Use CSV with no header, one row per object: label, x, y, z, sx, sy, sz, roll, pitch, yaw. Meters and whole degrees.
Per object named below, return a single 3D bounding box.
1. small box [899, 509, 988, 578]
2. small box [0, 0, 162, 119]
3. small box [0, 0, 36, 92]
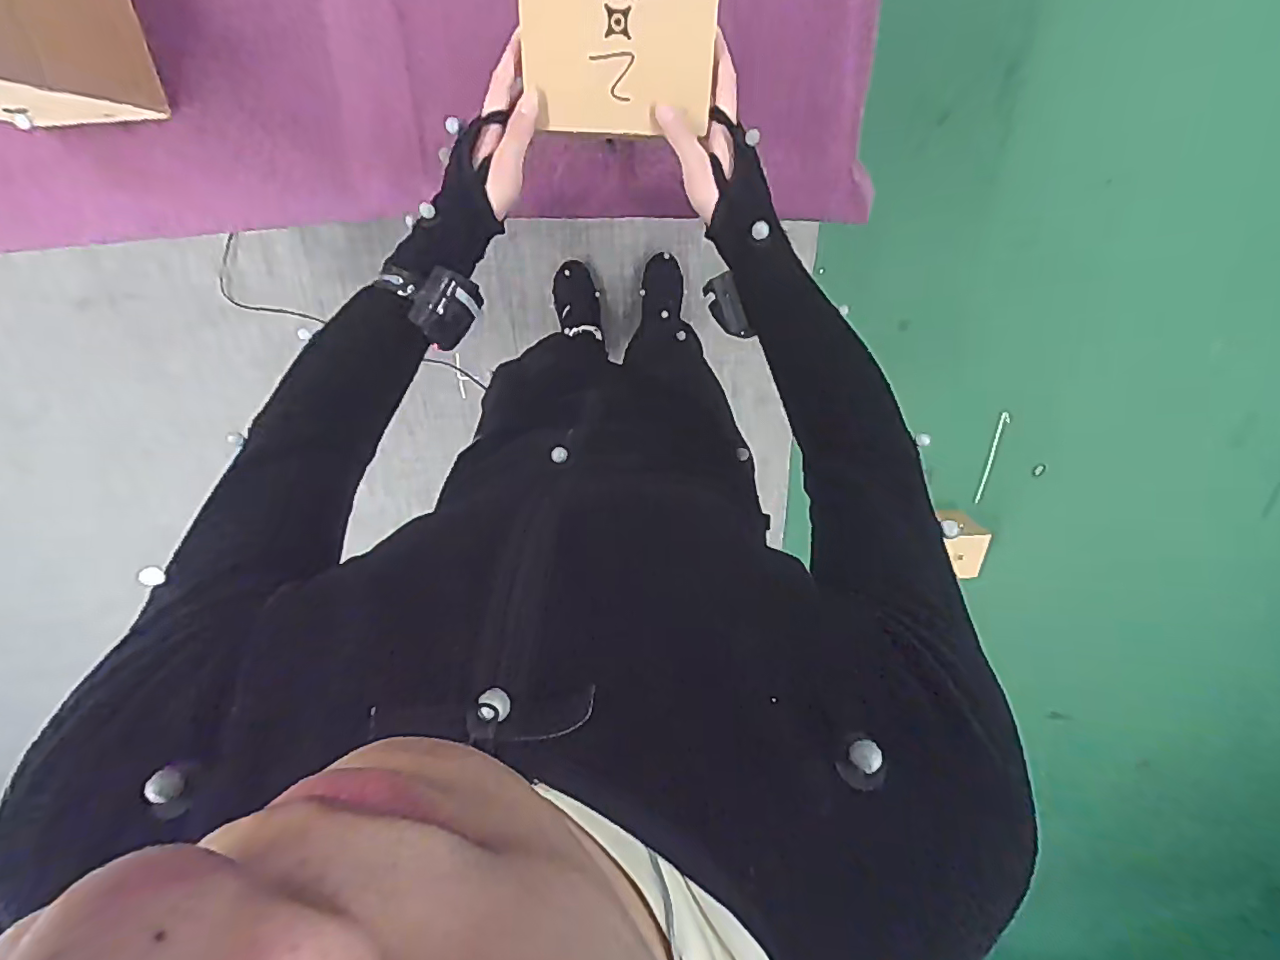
small box,0.991,0.206,1.780,0.179,0.176,0.168,0,117,-2
small box,-0.656,-0.482,0.553,0.168,0.176,0.179,-4,116,-1
small box,-0.649,-0.412,0.405,0.168,0.176,0.179,-3,117,-1
